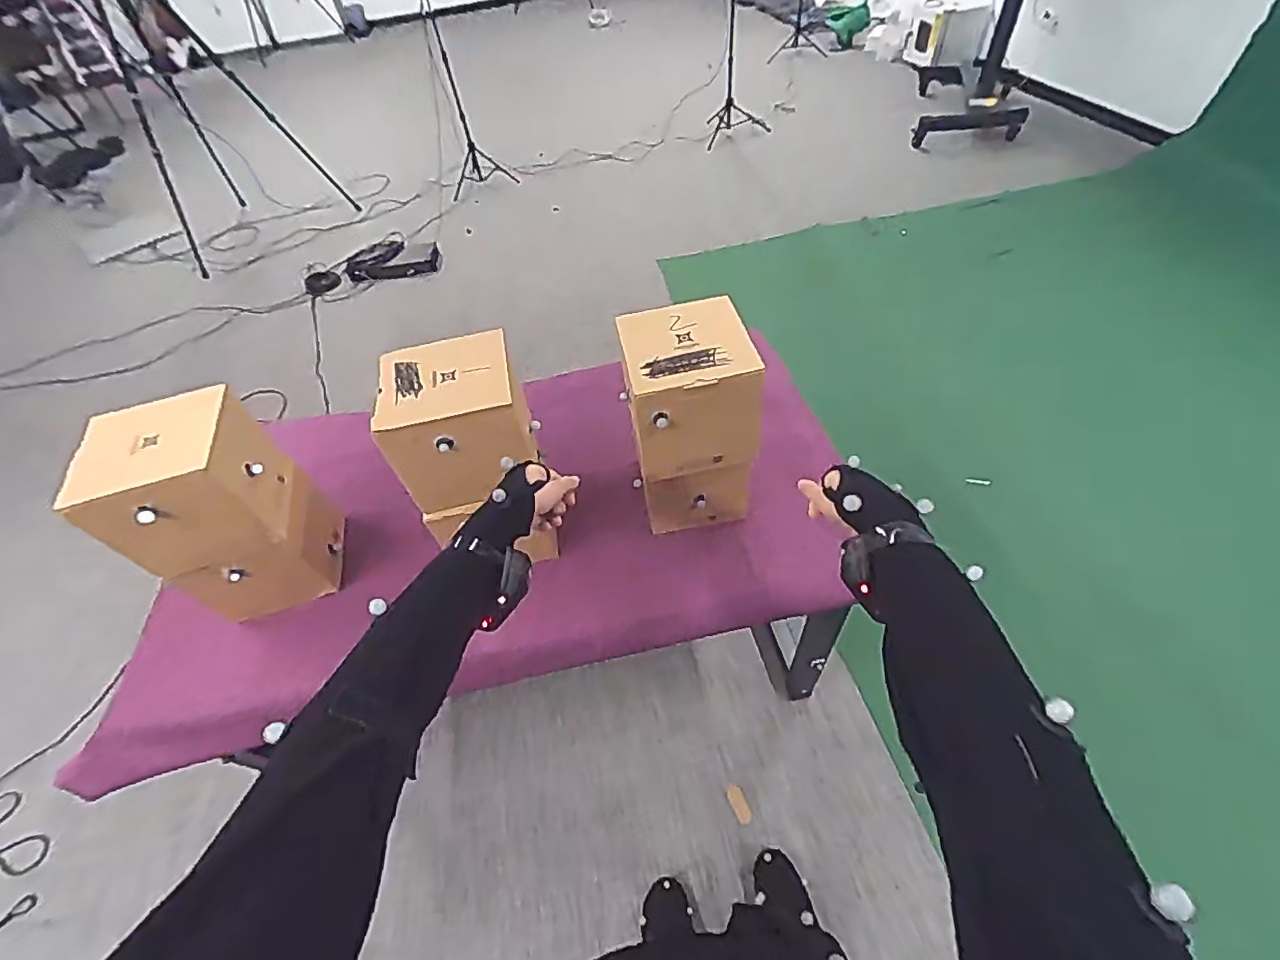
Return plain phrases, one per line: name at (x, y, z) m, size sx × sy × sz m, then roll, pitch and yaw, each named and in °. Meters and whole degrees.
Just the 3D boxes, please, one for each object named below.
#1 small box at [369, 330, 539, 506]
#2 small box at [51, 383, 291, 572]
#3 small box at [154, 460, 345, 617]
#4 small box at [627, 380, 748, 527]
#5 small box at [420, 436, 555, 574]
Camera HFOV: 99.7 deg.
small box at (-0.254, -0.083, 0.769) m, size 0.179 × 0.176 × 0.168 m, roll -13°, pitch 50°, yaw -5°
small box at (-0.620, 0.000, 0.748) m, size 0.179 × 0.176 × 0.168 m, roll -18°, pitch 53°, yaw -7°
small box at (-0.612, 0.099, 0.876) m, size 0.179 × 0.176 × 0.168 m, roll -16°, pitch 52°, yaw -7°
small box at (0.078, -0.036, 0.906) m, size 0.168 × 0.176 × 0.179 m, roll -10°, pitch 51°, yaw -1°
small box at (-0.241, 0.028, 0.890) m, size 0.168 × 0.176 × 0.179 m, roll -11°, pitch 51°, yaw -2°
